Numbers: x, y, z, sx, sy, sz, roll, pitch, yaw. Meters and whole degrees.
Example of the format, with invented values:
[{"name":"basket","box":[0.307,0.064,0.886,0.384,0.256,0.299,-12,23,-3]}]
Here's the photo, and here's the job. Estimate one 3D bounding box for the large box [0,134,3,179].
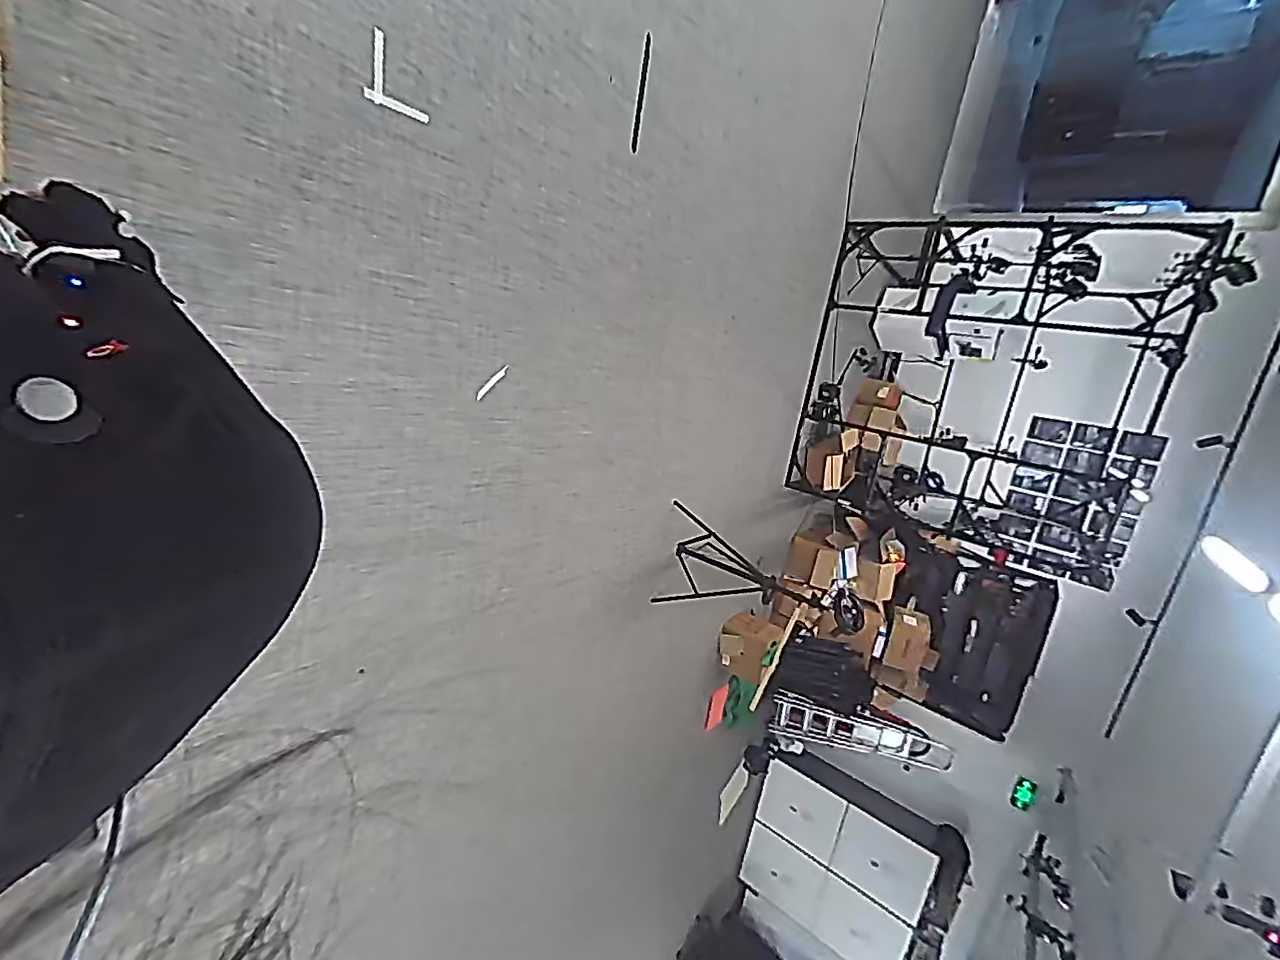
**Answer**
[{"name":"large box","box":[-1.099,-0.585,0.646,0.408,0.320,0.320,-4,109,-55]}]
